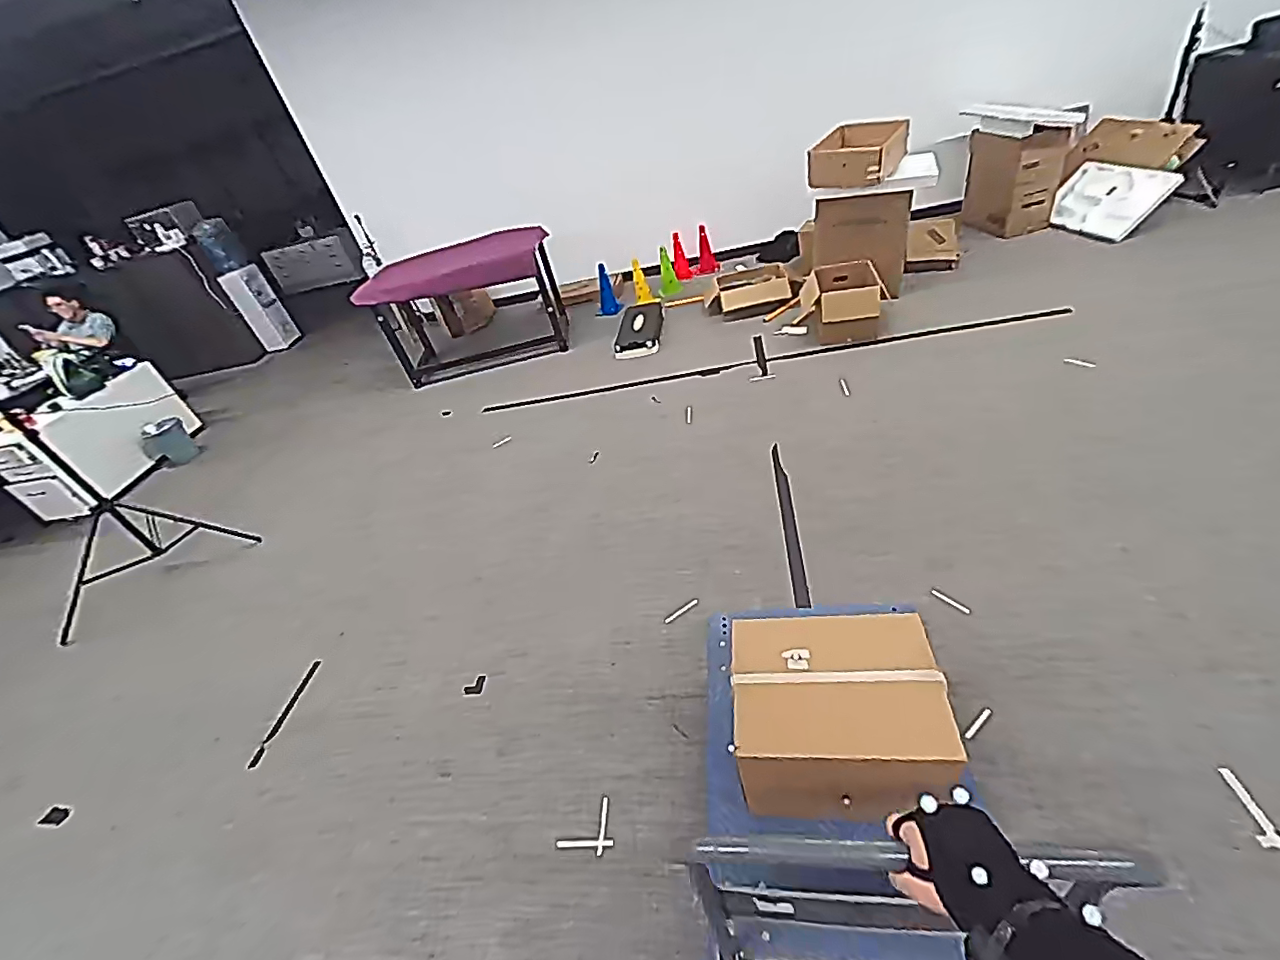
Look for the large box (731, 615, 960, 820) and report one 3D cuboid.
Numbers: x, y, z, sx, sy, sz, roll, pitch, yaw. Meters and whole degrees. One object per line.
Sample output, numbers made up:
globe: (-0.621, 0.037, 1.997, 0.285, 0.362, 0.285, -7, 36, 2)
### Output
large box: (0.428, 0.532, 1.203, 0.408, 0.320, 0.320, -7, 37, 13)
